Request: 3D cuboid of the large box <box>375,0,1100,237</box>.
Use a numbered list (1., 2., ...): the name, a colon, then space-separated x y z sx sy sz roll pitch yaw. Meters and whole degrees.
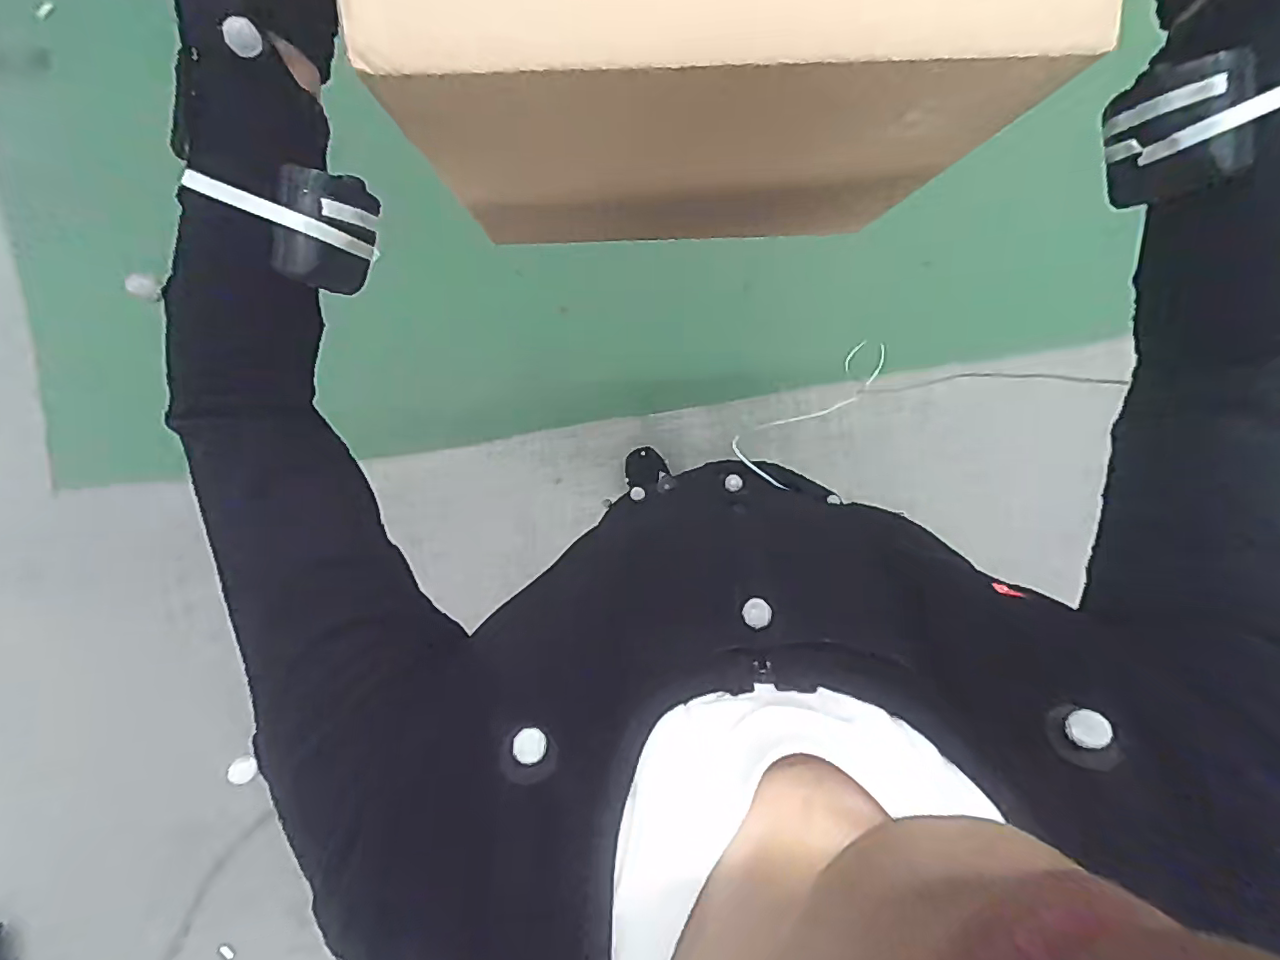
1. large box: 0.045 -0.402 0.423 0.408 0.320 0.320 -2 98 -2
